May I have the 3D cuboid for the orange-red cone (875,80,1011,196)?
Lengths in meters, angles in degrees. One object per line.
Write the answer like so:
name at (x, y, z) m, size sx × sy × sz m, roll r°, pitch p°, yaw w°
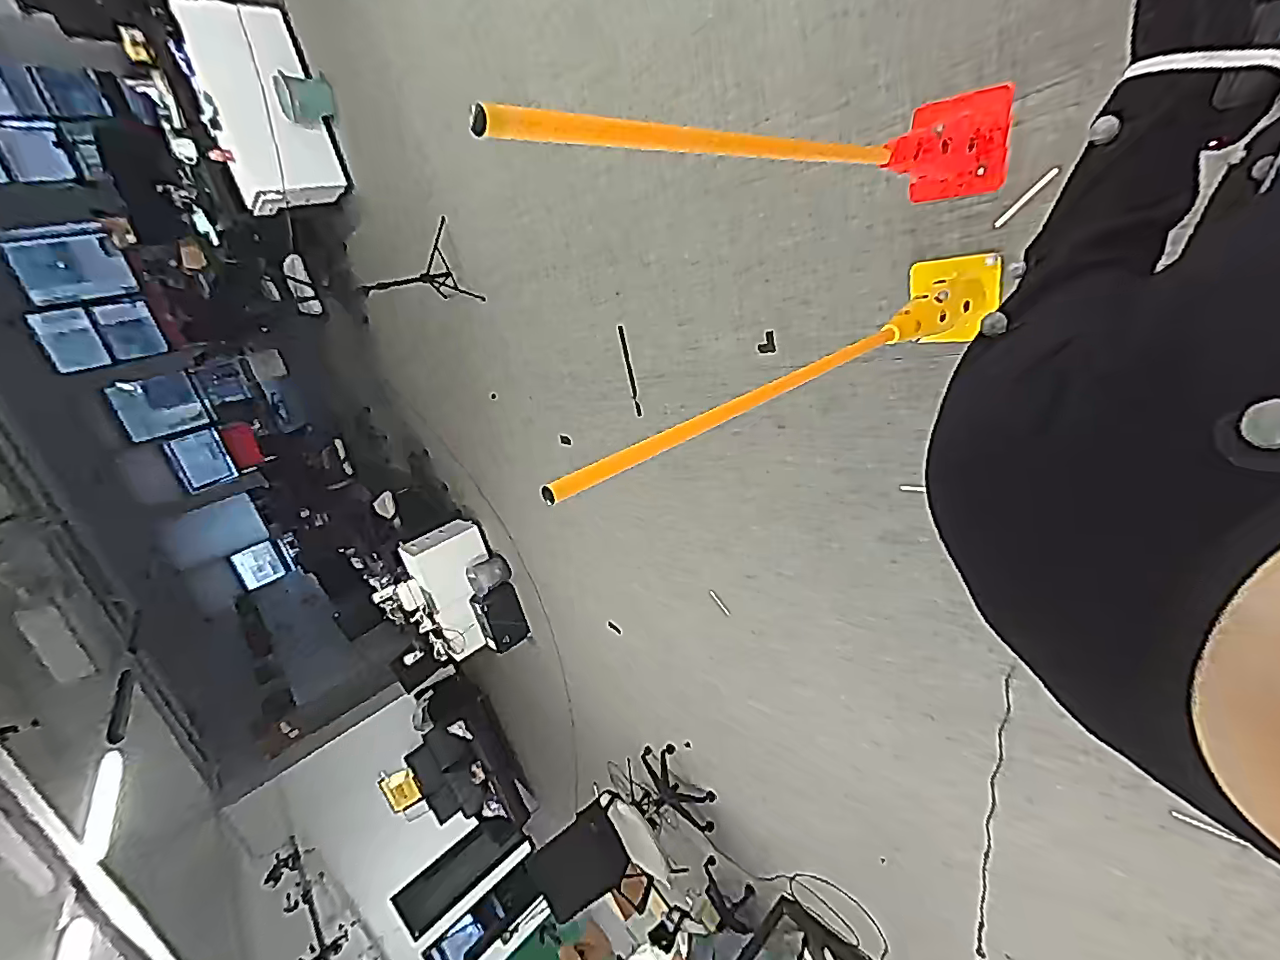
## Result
orange-red cone at (0.571, -0.677, 1.090) m, size 0.198 × 0.360 × 0.199 m, roll 18°, pitch 125°, yaw 44°
